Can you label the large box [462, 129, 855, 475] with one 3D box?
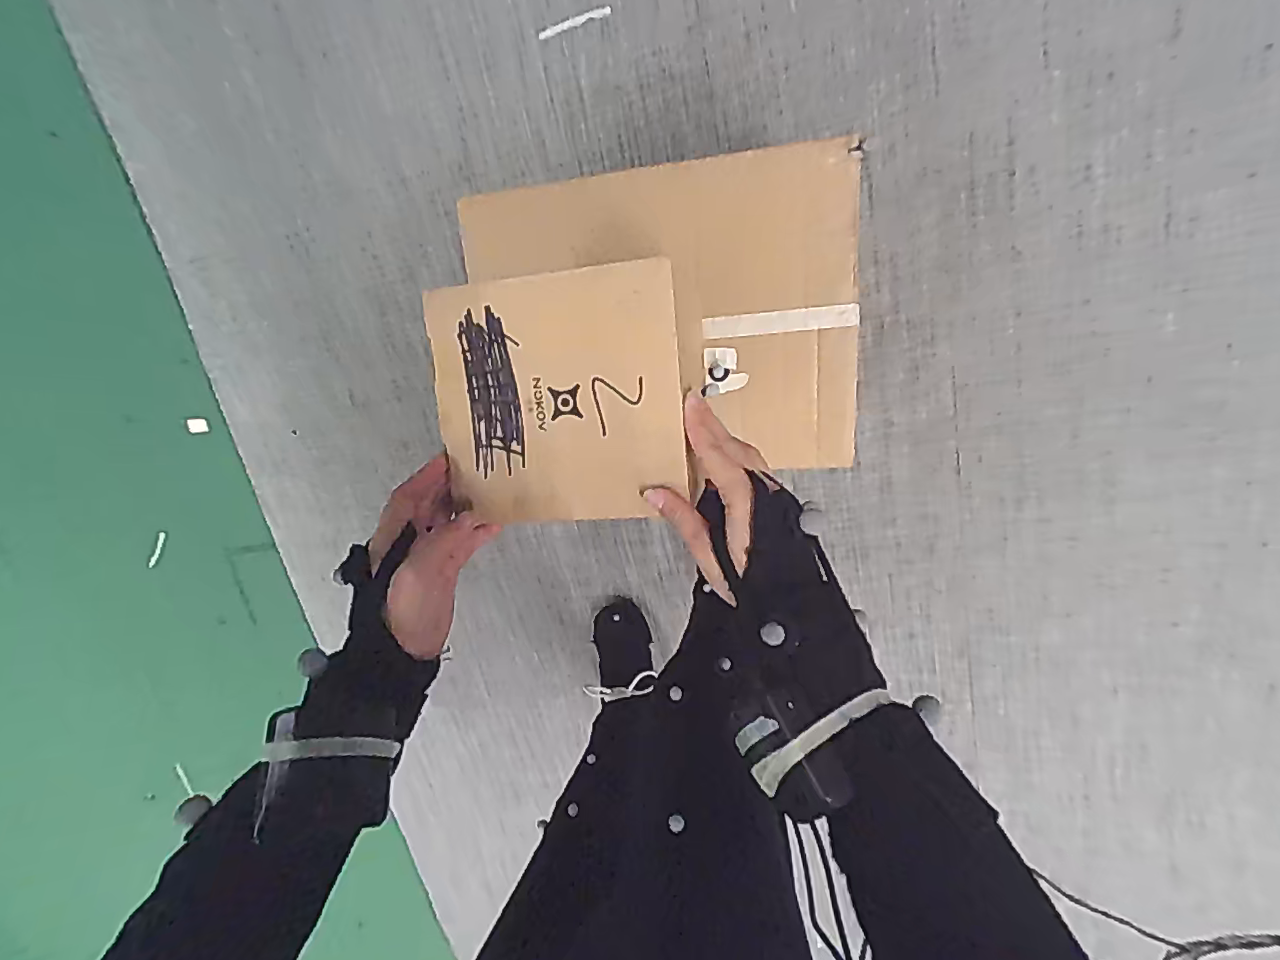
[{"bbox_3d":[0.044,-0.206,0.714,0.408,0.320,0.320,-3,108,12],"label":"large box"}]
